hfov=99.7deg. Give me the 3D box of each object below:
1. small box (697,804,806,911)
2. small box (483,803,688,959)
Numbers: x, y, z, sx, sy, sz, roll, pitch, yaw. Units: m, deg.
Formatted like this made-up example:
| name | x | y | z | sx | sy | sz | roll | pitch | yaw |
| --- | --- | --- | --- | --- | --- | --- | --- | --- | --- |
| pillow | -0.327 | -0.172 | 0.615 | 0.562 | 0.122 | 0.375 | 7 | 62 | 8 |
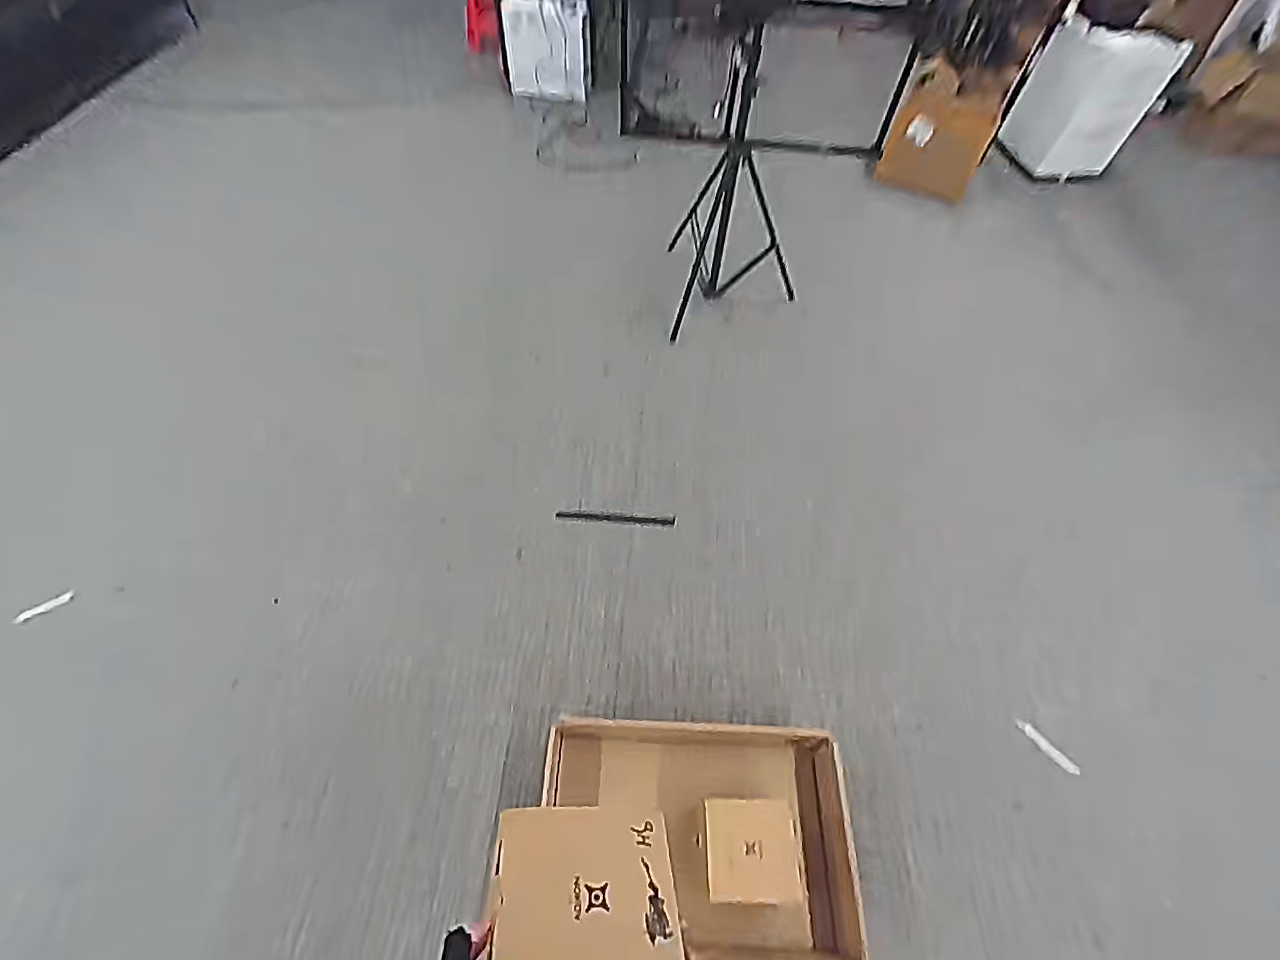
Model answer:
| name | x | y | z | sx | sy | sz | roll | pitch | yaw |
| --- | --- | --- | --- | --- | --- | --- | --- | --- | --- |
| small box | 0.213 | 0.754 | 1.086 | 0.179 | 0.176 | 0.168 | 1 | 55 | -1 |
| small box | -0.064 | 0.452 | 0.539 | 0.179 | 0.176 | 0.168 | 7 | 30 | -12 |
